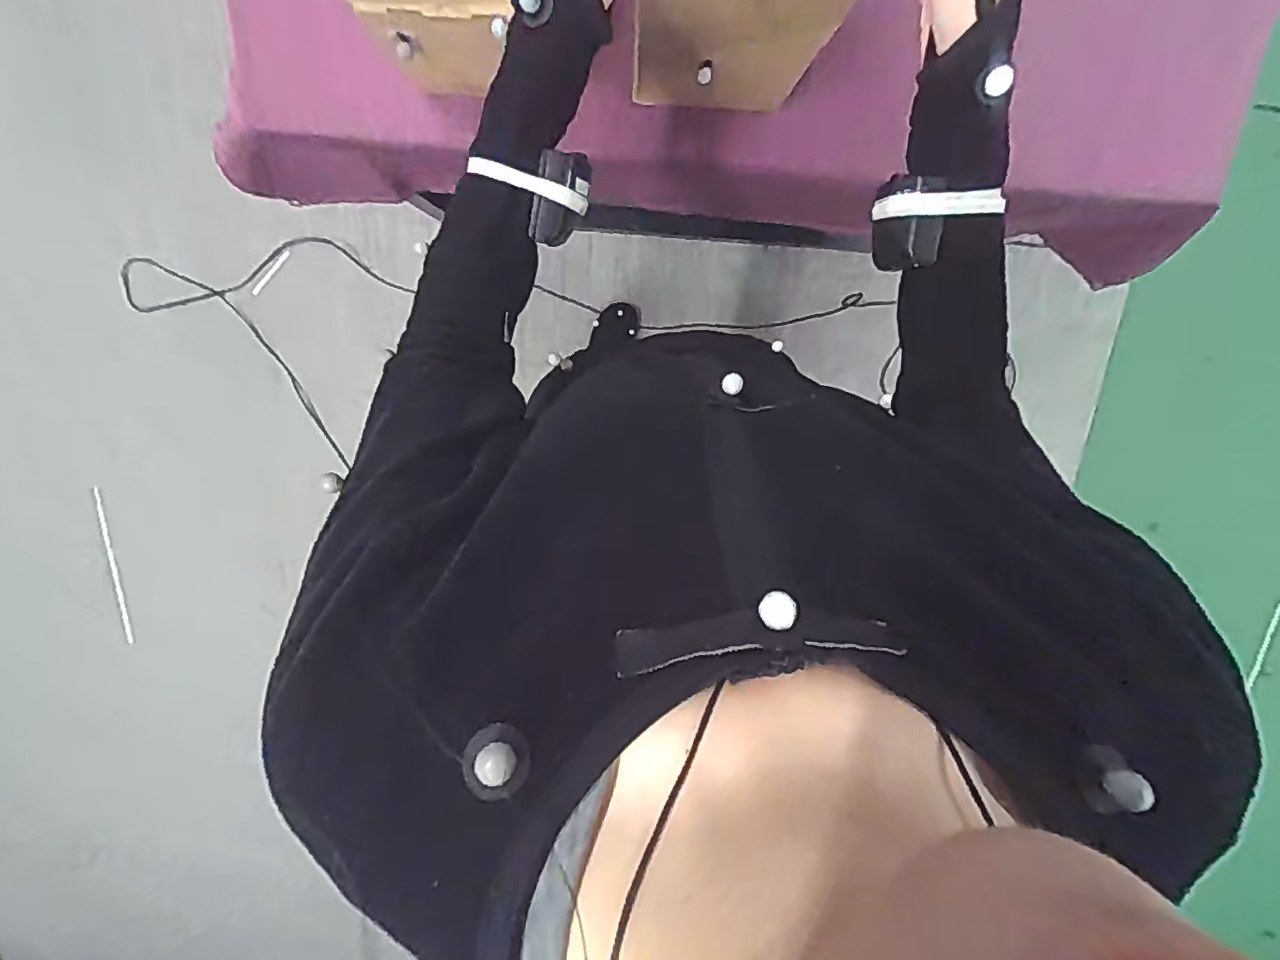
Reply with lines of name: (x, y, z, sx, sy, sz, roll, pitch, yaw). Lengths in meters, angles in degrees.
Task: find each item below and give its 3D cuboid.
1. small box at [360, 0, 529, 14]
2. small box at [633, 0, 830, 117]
small box: (-0.172, -0.470, 0.376, 0.168, 0.176, 0.179, -1, 103, -1)
small box: (0.084, -0.493, 0.545, 0.179, 0.176, 0.168, 2, 105, -2)
